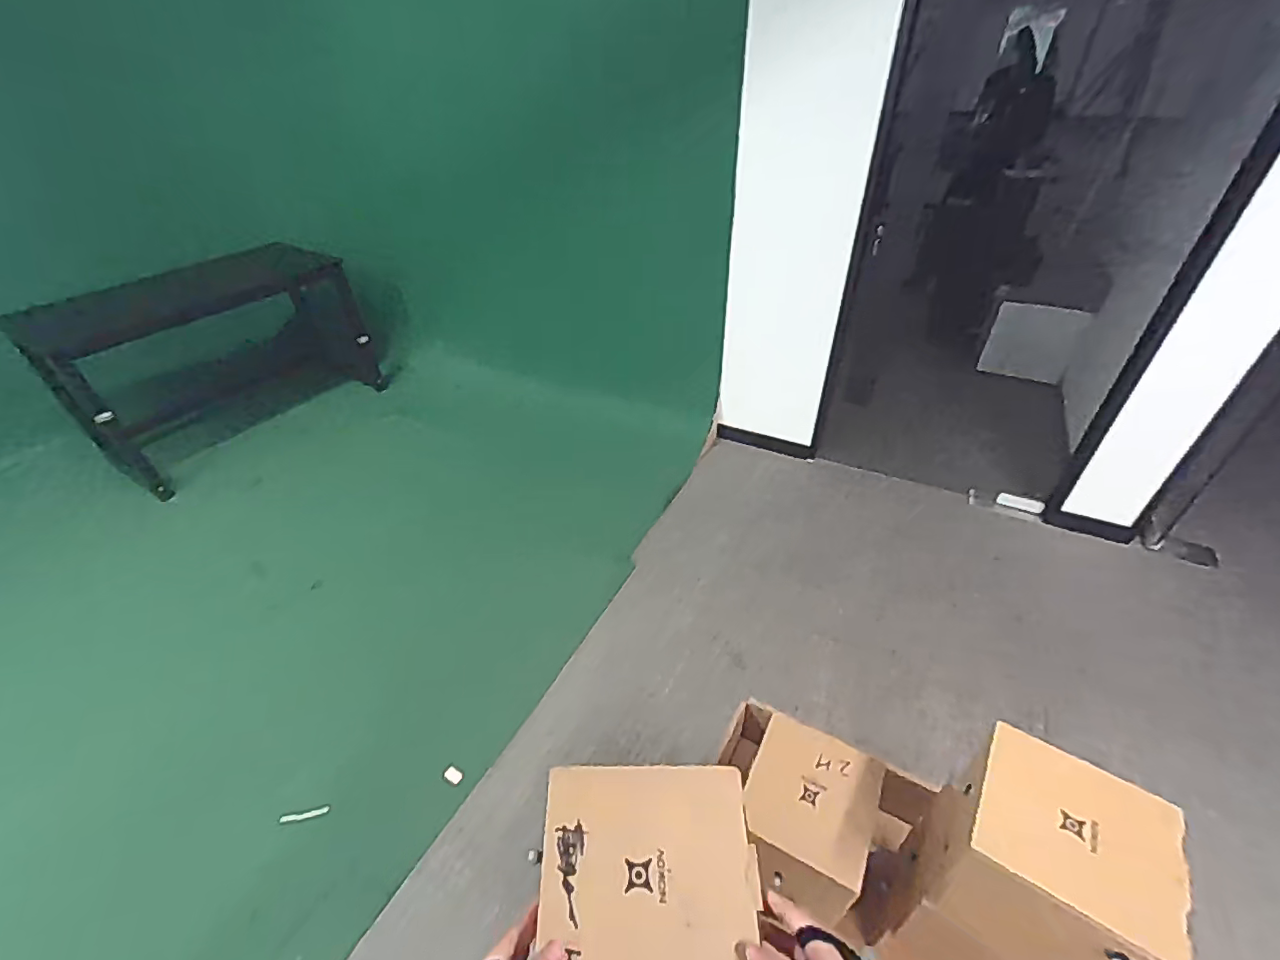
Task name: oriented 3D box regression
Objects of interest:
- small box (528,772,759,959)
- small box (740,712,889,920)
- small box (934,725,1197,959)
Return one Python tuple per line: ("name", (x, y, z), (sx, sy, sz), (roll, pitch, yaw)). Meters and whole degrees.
("small box", (-0.004, 0.379, 0.489), (0.179, 0.176, 0.168), (2, 46, -5))
("small box", (0.237, 0.484, 0.780), (0.168, 0.176, 0.179), (20, 45, 23))
("small box", (0.451, 0.420, 0.595), (0.179, 0.176, 0.168), (22, 45, 29))
